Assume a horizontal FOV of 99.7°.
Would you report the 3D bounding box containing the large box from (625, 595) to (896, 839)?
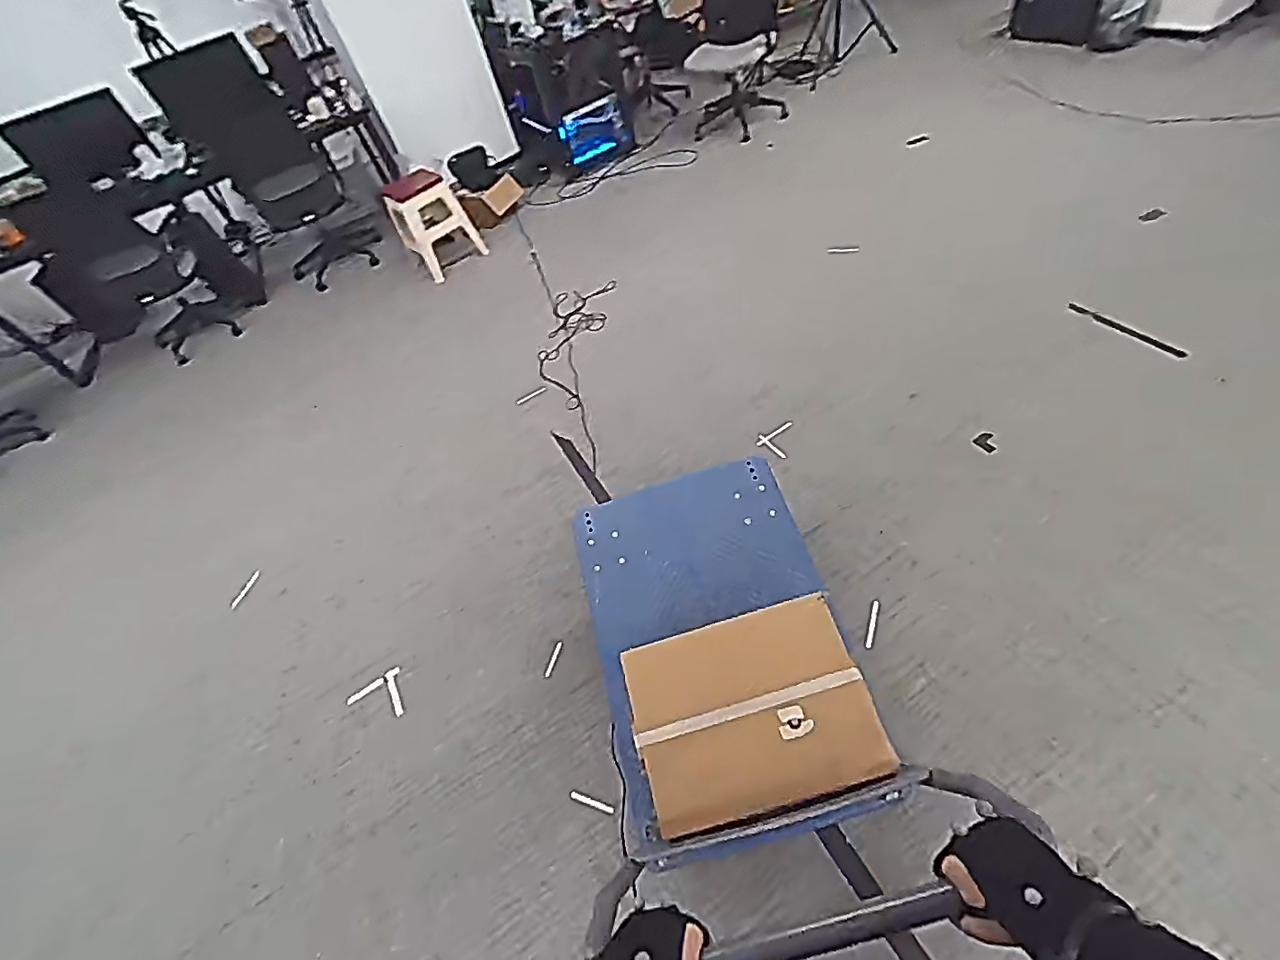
[{"bbox_3d":[0.221,0.480,1.094,0.408,0.320,0.320,-18,60,0],"label":"large box"}]
